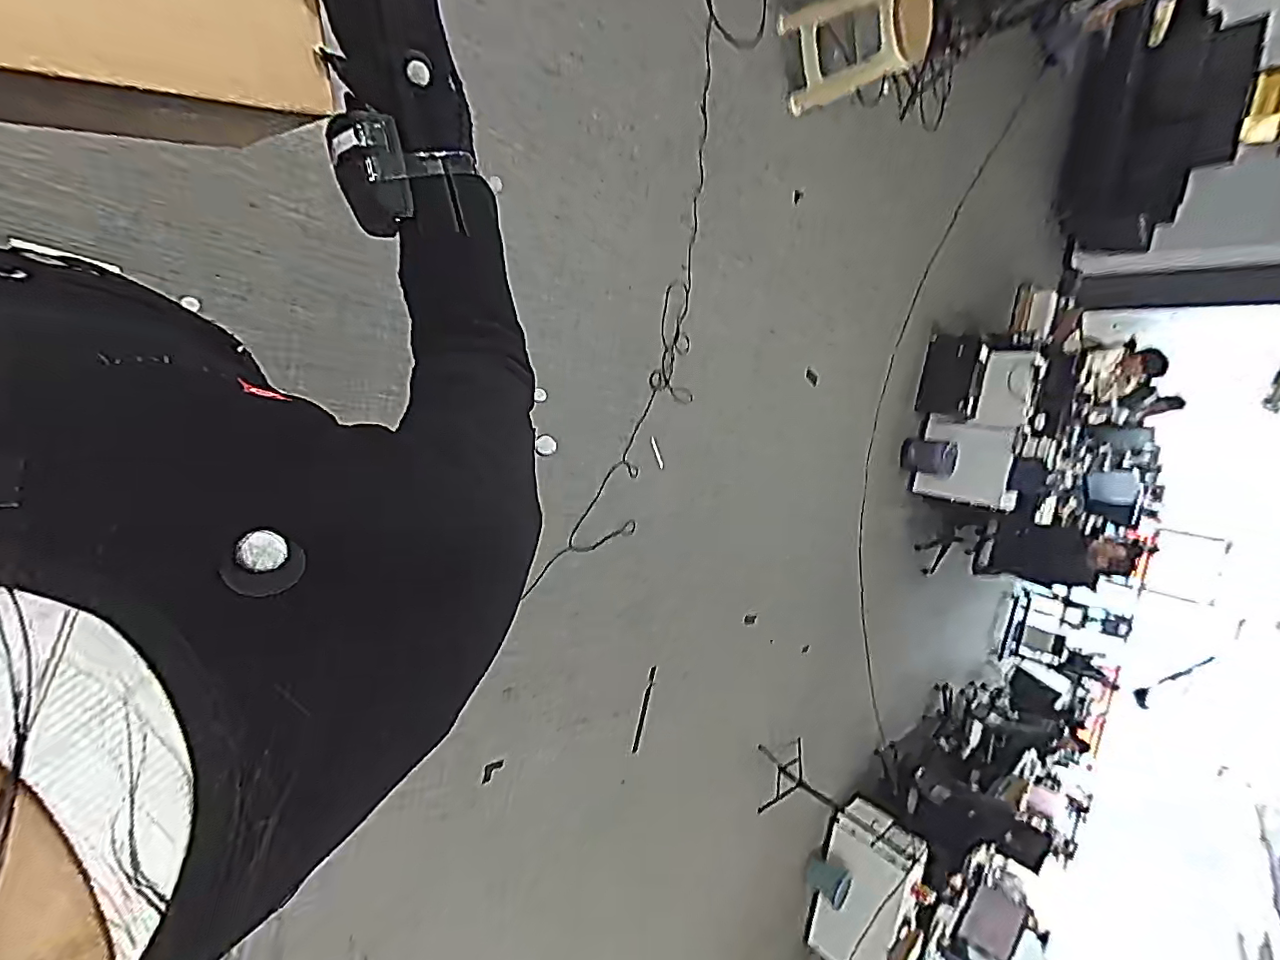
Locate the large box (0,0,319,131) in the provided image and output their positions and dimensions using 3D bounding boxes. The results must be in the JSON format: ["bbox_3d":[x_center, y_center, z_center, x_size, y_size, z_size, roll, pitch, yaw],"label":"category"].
[{"bbox_3d":[-0.444,-0.373,0.249,0.408,0.320,0.320,-21,125,-39],"label":"large box"}]
